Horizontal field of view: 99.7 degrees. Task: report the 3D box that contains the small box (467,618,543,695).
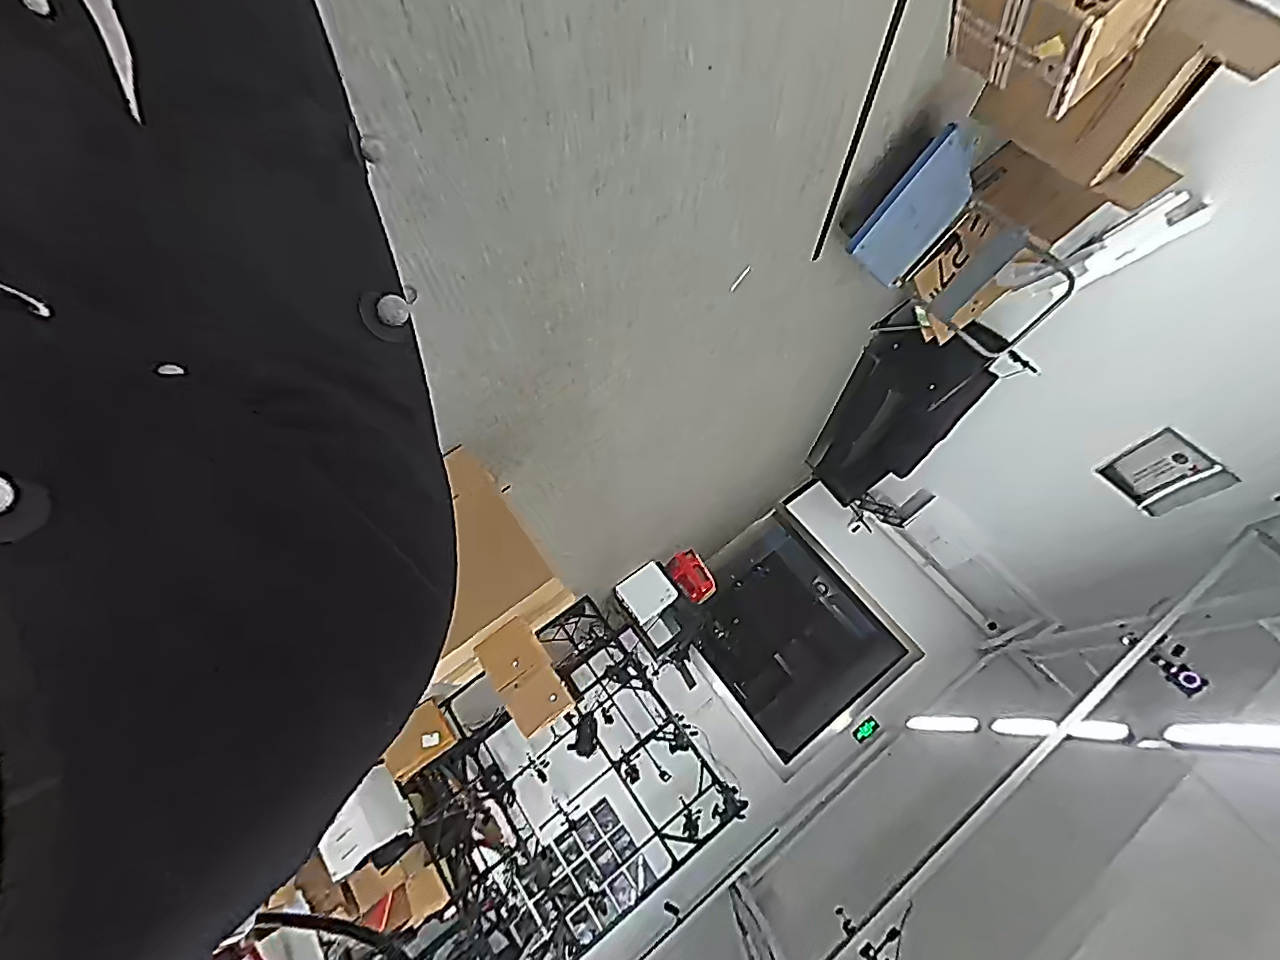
[{"bbox_3d":[-0.459,0.596,1.821,0.179,0.176,0.168,-36,160,-12],"label":"small box"}]
